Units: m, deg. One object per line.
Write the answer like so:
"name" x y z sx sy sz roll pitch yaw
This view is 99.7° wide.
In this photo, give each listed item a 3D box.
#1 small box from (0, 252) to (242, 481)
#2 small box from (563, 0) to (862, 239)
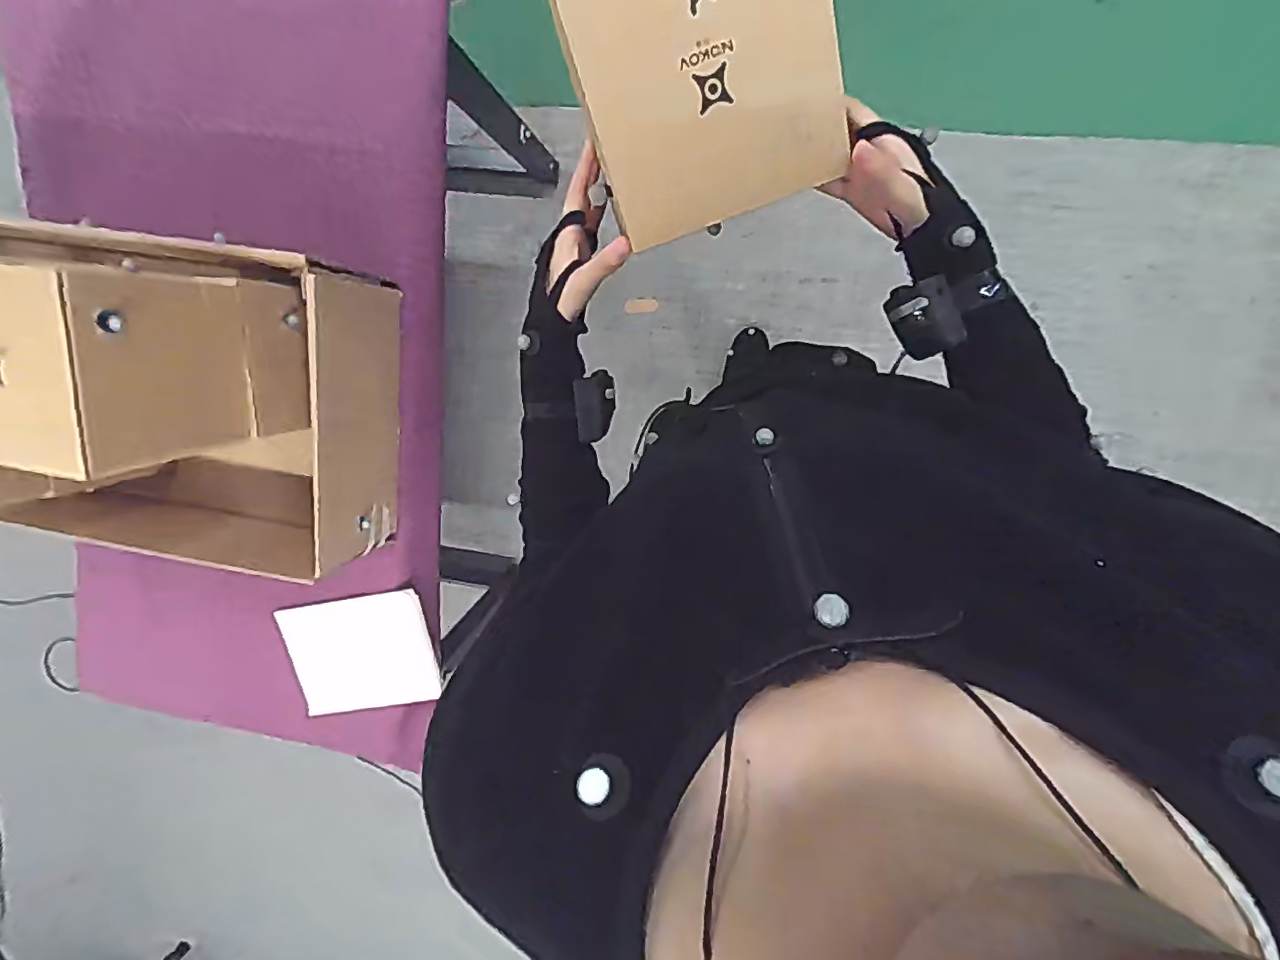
"small box" -0.521 -0.114 0.517 0.168 0.176 0.179 9 105 7
"small box" 0.046 -0.305 0.412 0.168 0.176 0.179 -18 117 4
